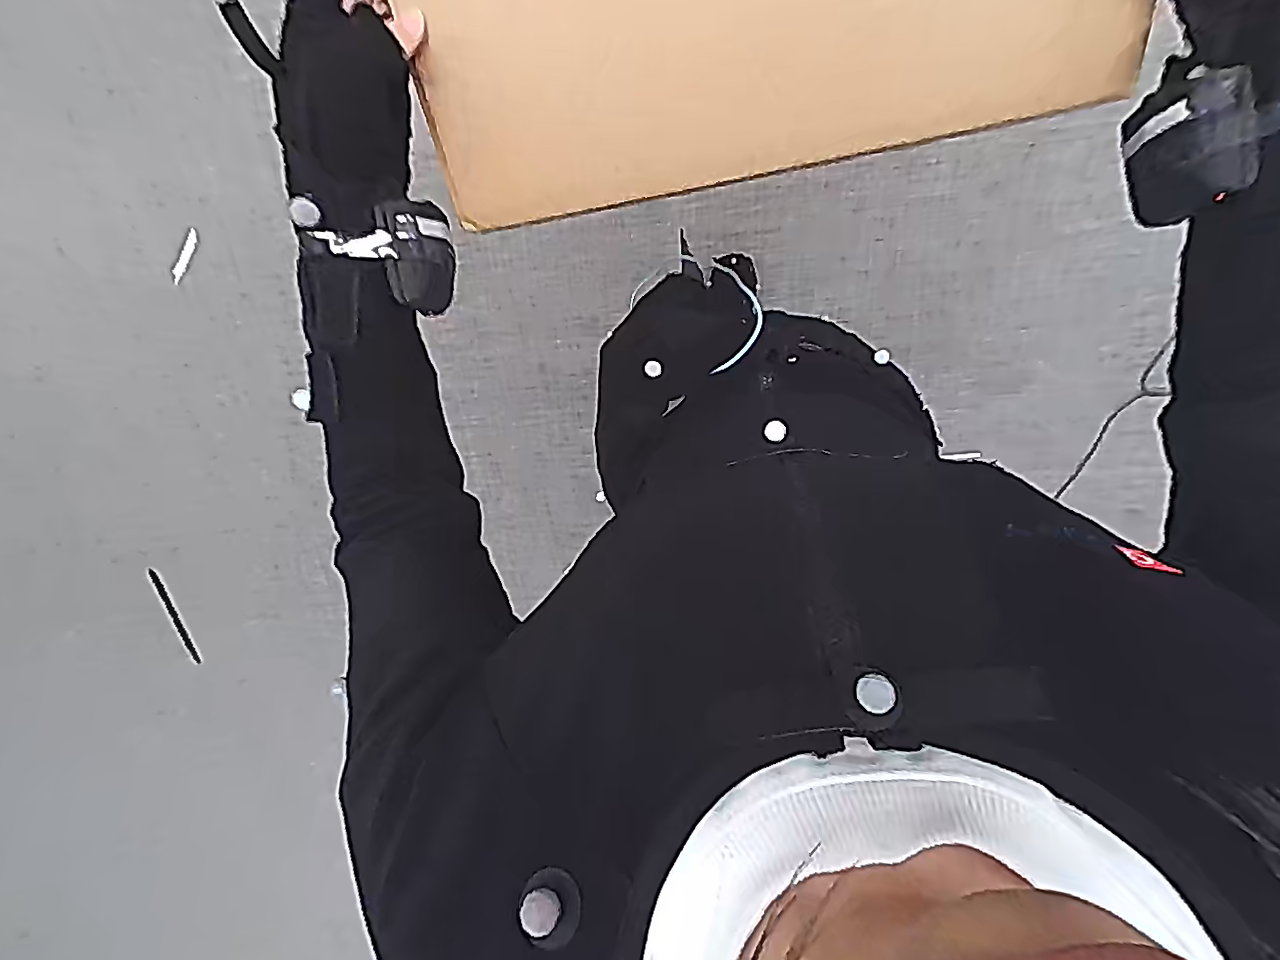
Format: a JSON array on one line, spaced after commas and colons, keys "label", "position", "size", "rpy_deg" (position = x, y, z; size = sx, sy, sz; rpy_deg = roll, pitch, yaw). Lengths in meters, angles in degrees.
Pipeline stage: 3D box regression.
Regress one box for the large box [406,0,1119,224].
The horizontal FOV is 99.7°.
[{"label": "large box", "position": [0.056, -0.410, 0.405], "size": [0.408, 0.320, 0.320], "rpy_deg": [-8, 119, 8]}]
